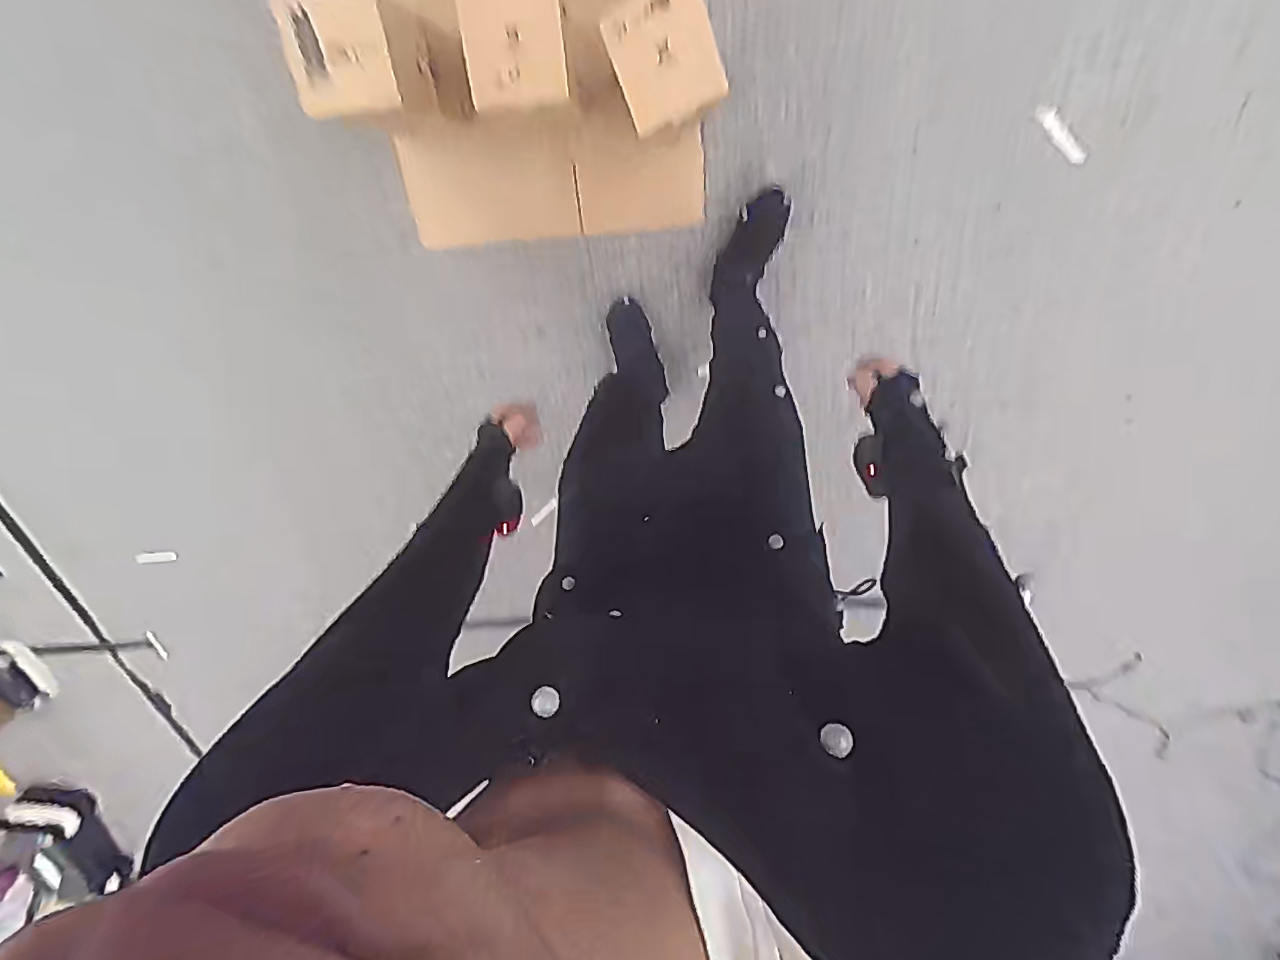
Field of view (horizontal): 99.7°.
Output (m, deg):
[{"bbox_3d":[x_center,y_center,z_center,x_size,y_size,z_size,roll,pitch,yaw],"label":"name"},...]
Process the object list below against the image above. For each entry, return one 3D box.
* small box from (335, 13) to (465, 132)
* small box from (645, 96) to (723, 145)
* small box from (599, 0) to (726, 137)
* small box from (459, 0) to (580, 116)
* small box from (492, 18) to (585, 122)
[{"bbox_3d":[-0.473,-0.822,1.105,0.179,0.176,0.168,-3,118,5],"label":"small box"},{"bbox_3d":[0.056,-0.812,1.095,0.168,0.176,0.179,-21,115,14],"label":"small box"},{"bbox_3d":[0.044,-0.733,0.953,0.168,0.176,0.179,-19,117,13],"label":"small box"},{"bbox_3d":[-0.202,-0.756,0.946,0.168,0.176,0.179,-2,119,3],"label":"small box"},{"bbox_3d":[-0.207,-0.832,1.092,0.179,0.176,0.168,-2,119,3],"label":"small box"}]
